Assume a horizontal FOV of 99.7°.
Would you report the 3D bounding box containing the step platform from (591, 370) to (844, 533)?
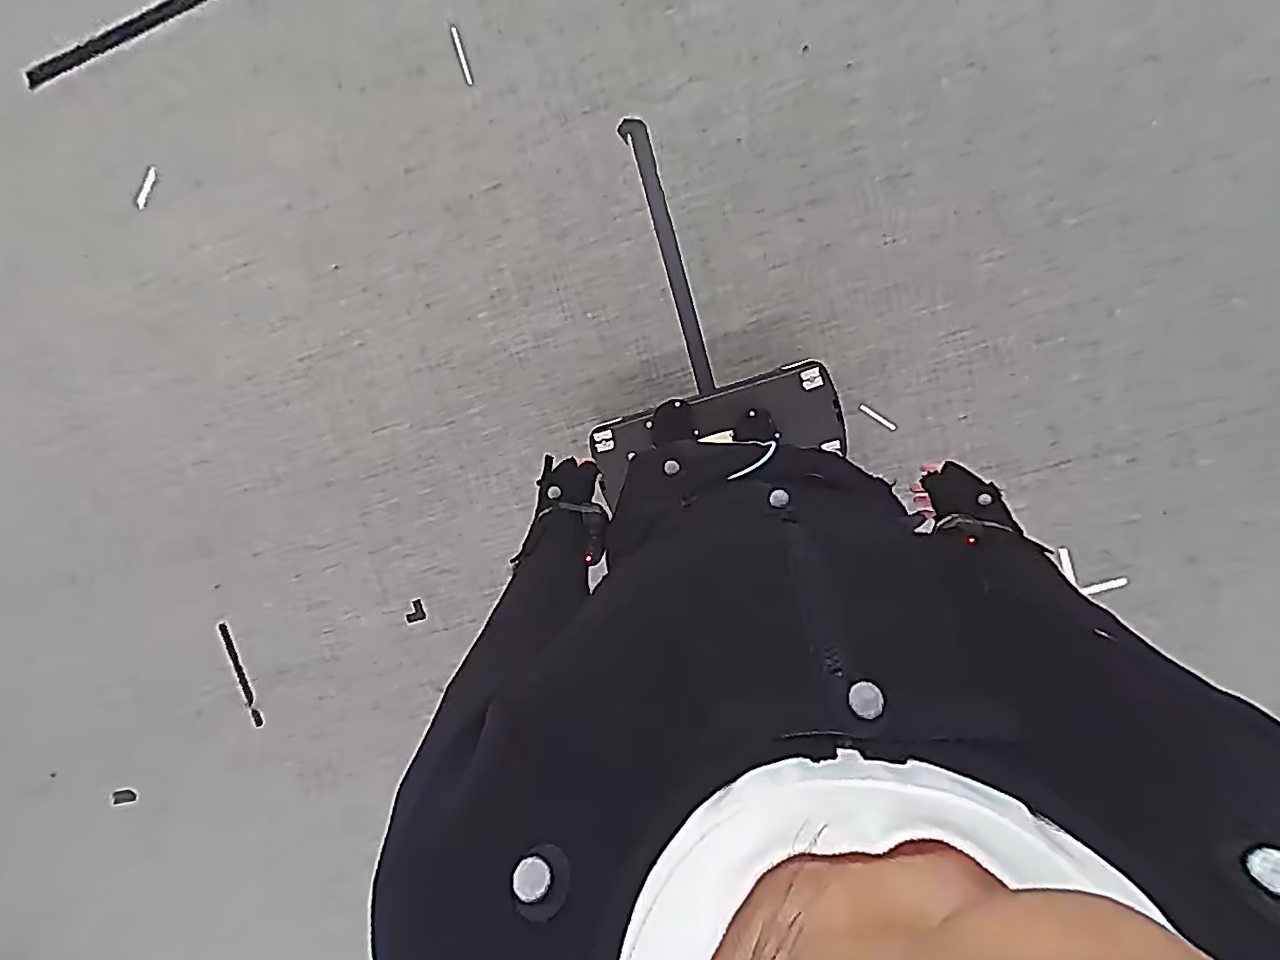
[{"bbox_3d":[0.208,-0.076,1.526,0.684,0.204,0.286,-17,97,8],"label":"step platform"}]
